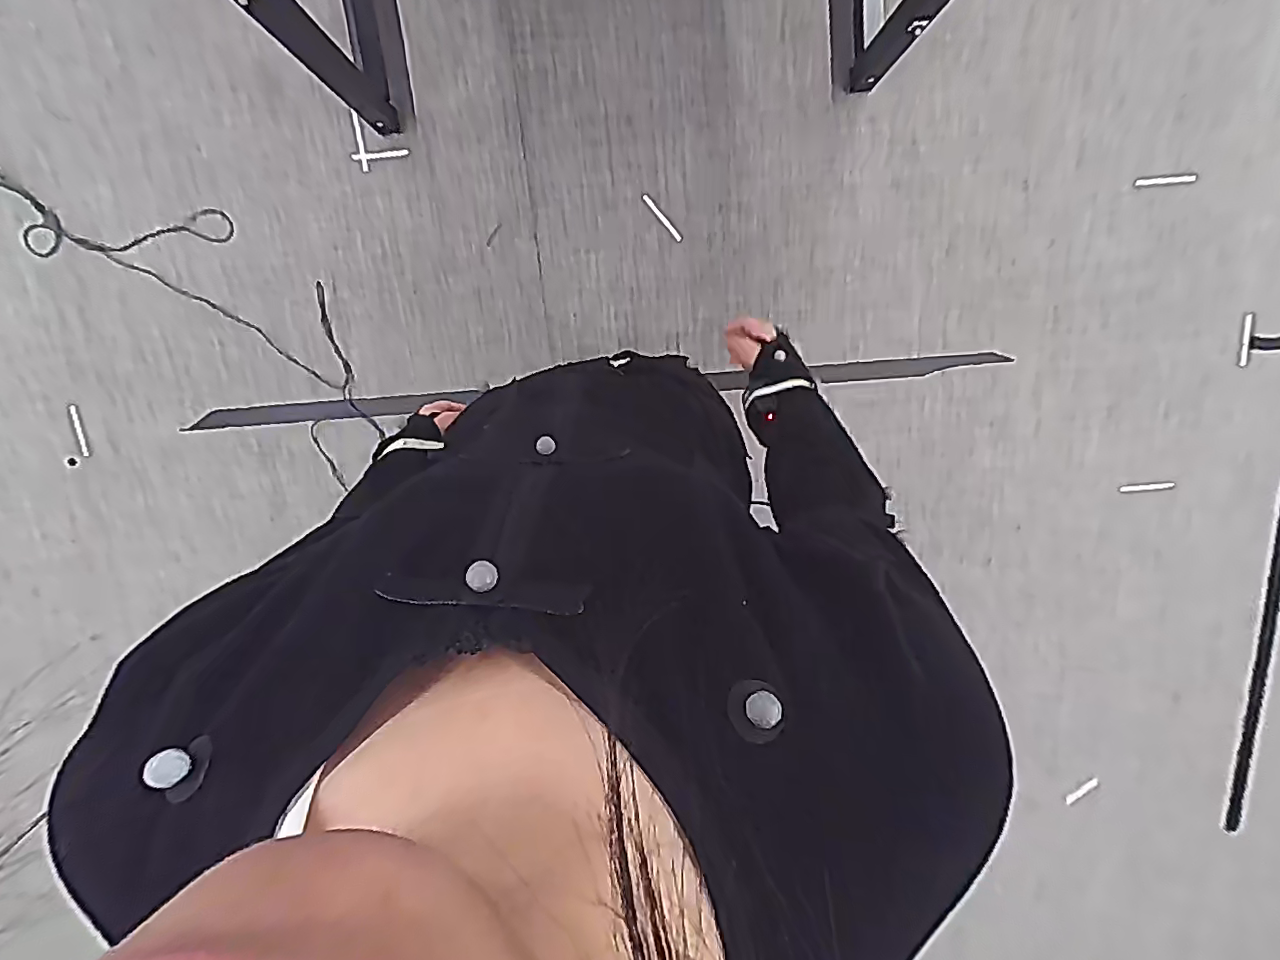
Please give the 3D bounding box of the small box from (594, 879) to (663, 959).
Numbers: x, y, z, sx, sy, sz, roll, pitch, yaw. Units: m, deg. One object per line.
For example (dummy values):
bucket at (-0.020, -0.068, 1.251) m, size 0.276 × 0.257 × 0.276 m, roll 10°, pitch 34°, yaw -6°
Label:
small box at (-0.027, 1.243, 1.476) m, size 0.168 × 0.176 × 0.179 m, roll -9°, pitch 102°, yaw 0°
